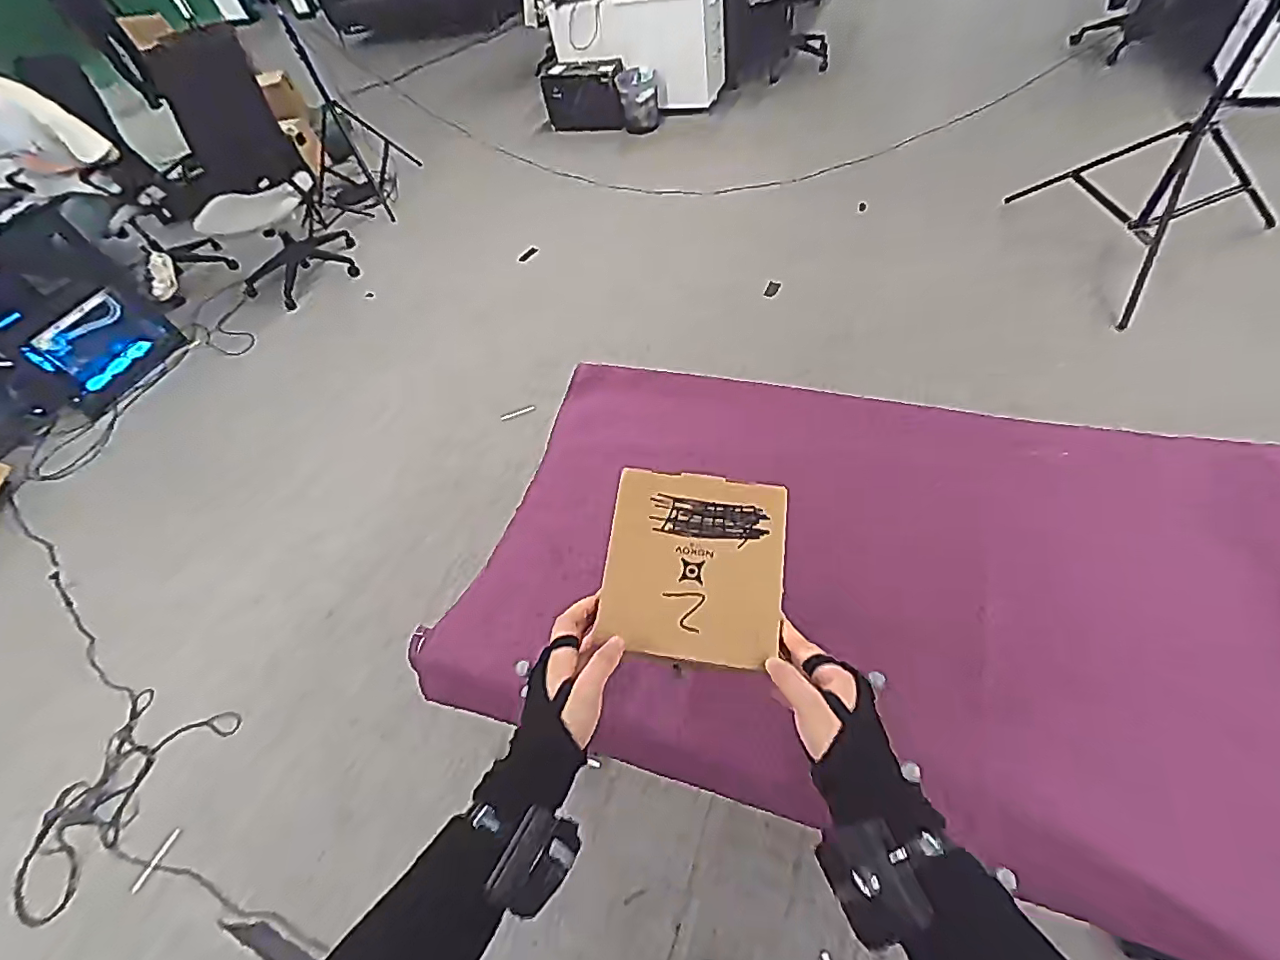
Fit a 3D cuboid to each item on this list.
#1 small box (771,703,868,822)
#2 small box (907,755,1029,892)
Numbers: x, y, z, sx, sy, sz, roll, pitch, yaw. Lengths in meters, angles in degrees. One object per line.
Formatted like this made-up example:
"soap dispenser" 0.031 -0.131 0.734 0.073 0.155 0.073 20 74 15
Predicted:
"small box" 0.390 0.625 1.189 0.168 0.176 0.179 13 57 19
"small box" 0.654 0.693 1.091 0.168 0.176 0.179 15 57 21
